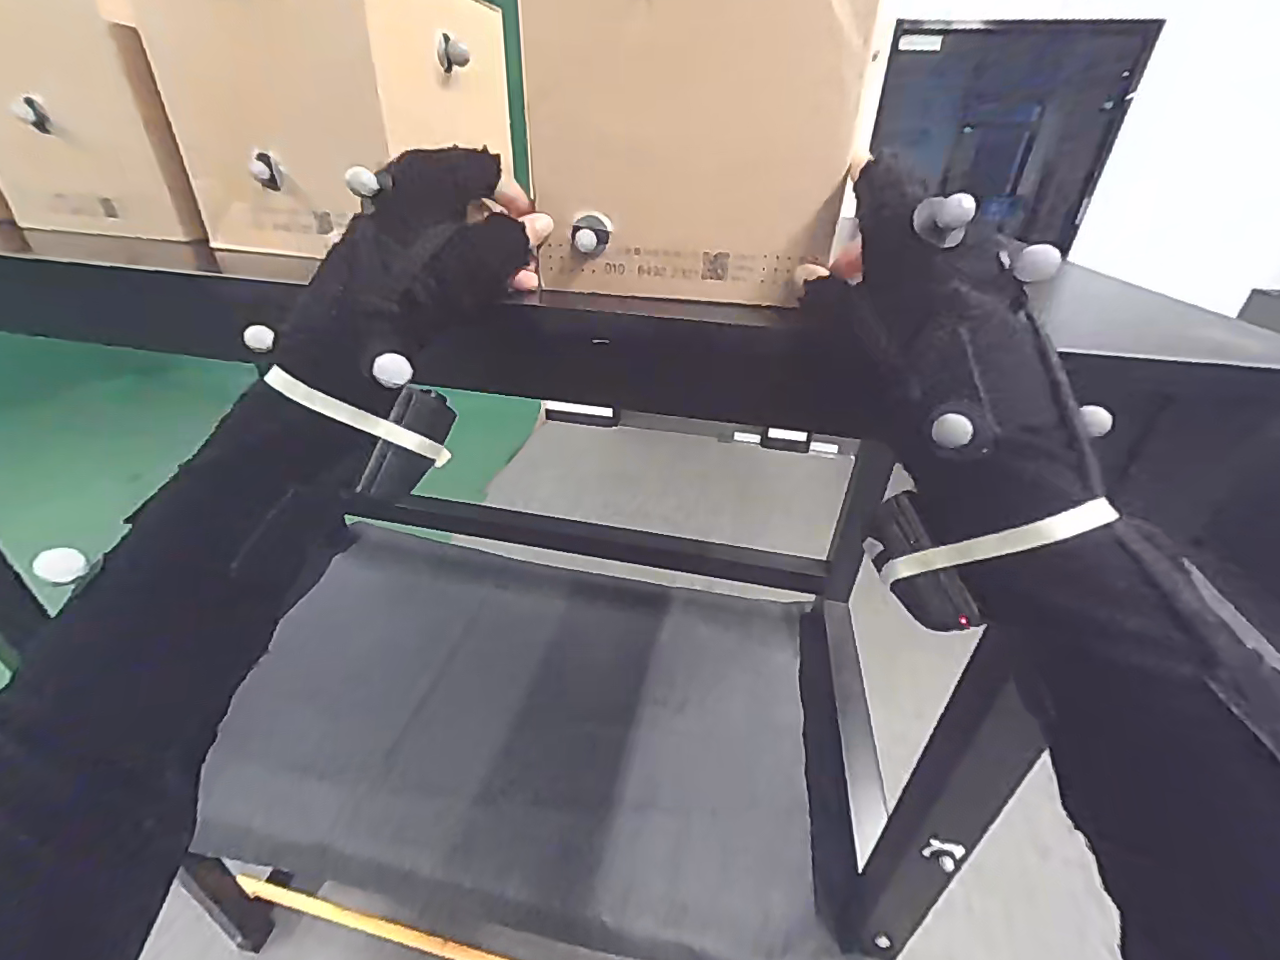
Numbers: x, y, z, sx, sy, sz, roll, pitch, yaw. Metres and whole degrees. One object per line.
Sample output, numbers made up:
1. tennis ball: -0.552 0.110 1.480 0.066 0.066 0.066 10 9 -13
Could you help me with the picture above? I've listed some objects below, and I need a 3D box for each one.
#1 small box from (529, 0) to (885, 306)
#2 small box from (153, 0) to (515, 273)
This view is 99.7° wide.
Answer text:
1. small box: 0.043 -0.214 0.338 0.168 0.176 0.179 8 31 8
2. small box: -0.204 -0.266 0.408 0.168 0.176 0.179 9 33 10
